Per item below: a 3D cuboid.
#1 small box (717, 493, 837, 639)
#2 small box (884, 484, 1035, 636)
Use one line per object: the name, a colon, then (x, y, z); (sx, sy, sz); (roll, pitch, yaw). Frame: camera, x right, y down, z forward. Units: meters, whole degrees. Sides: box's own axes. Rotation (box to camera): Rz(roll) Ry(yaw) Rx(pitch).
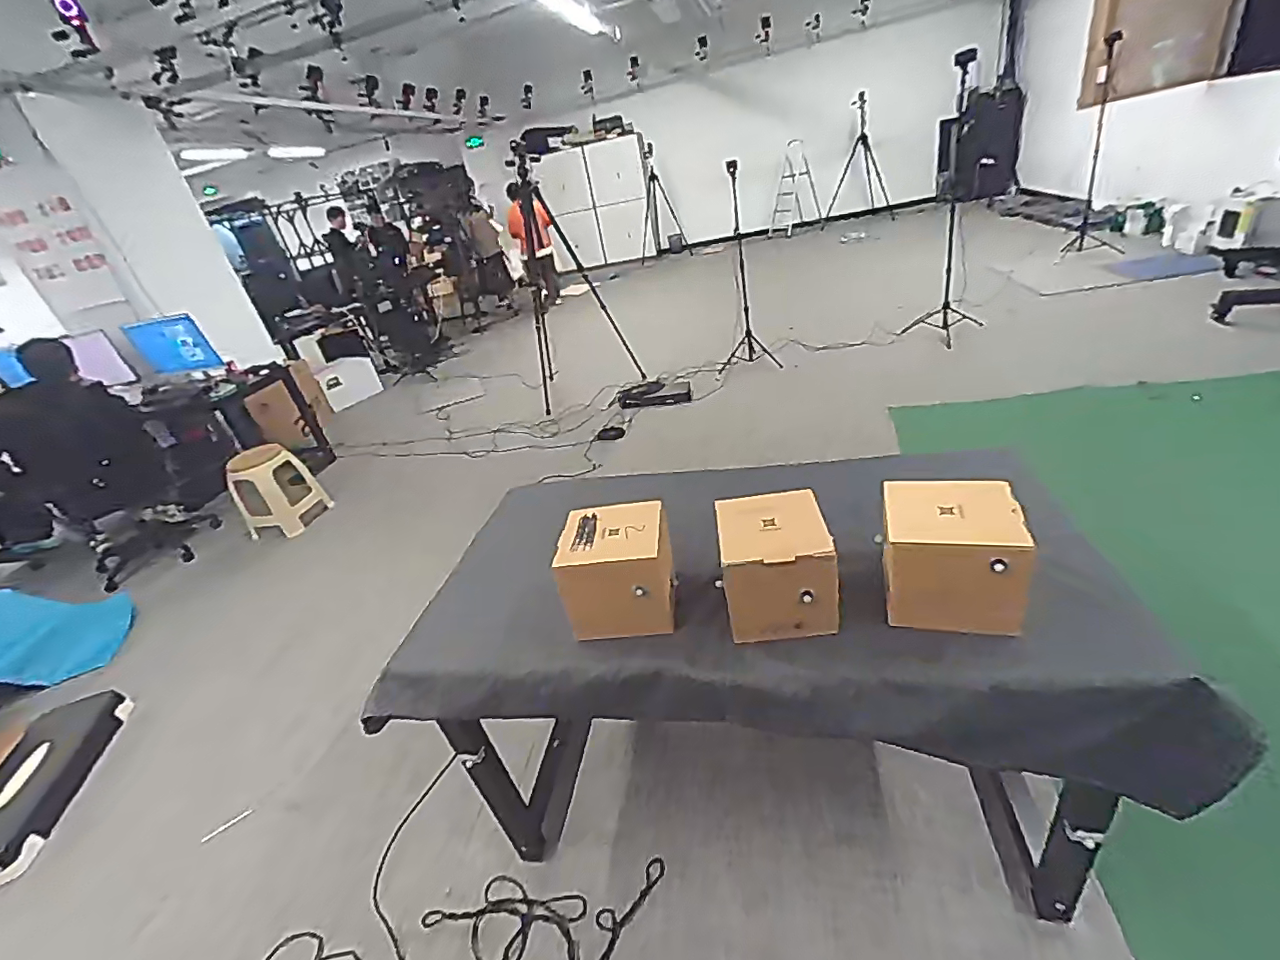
small box: (0.223, 0.145, 0.892); (0.168, 0.176, 0.179); (-7, 28, 8)
small box: (0.476, 0.120, 0.833); (0.179, 0.176, 0.168); (0, 31, 21)
